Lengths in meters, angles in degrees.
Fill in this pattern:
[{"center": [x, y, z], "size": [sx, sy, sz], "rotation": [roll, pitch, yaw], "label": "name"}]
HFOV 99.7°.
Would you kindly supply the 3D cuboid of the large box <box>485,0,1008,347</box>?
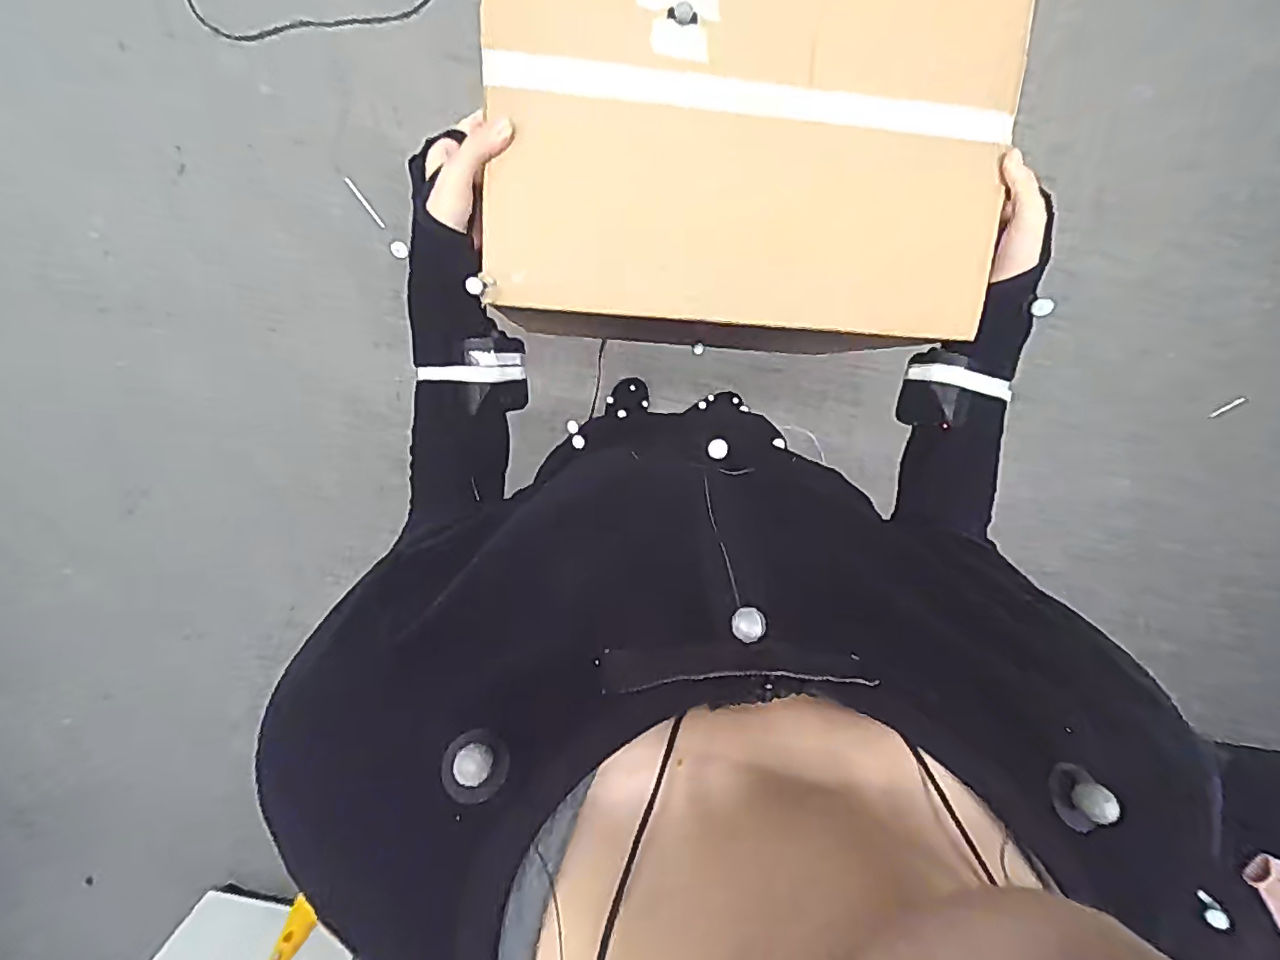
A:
[{"center": [0.071, -0.309, 0.568], "size": [0.408, 0.320, 0.320], "rotation": [3, 101, -6], "label": "large box"}]
